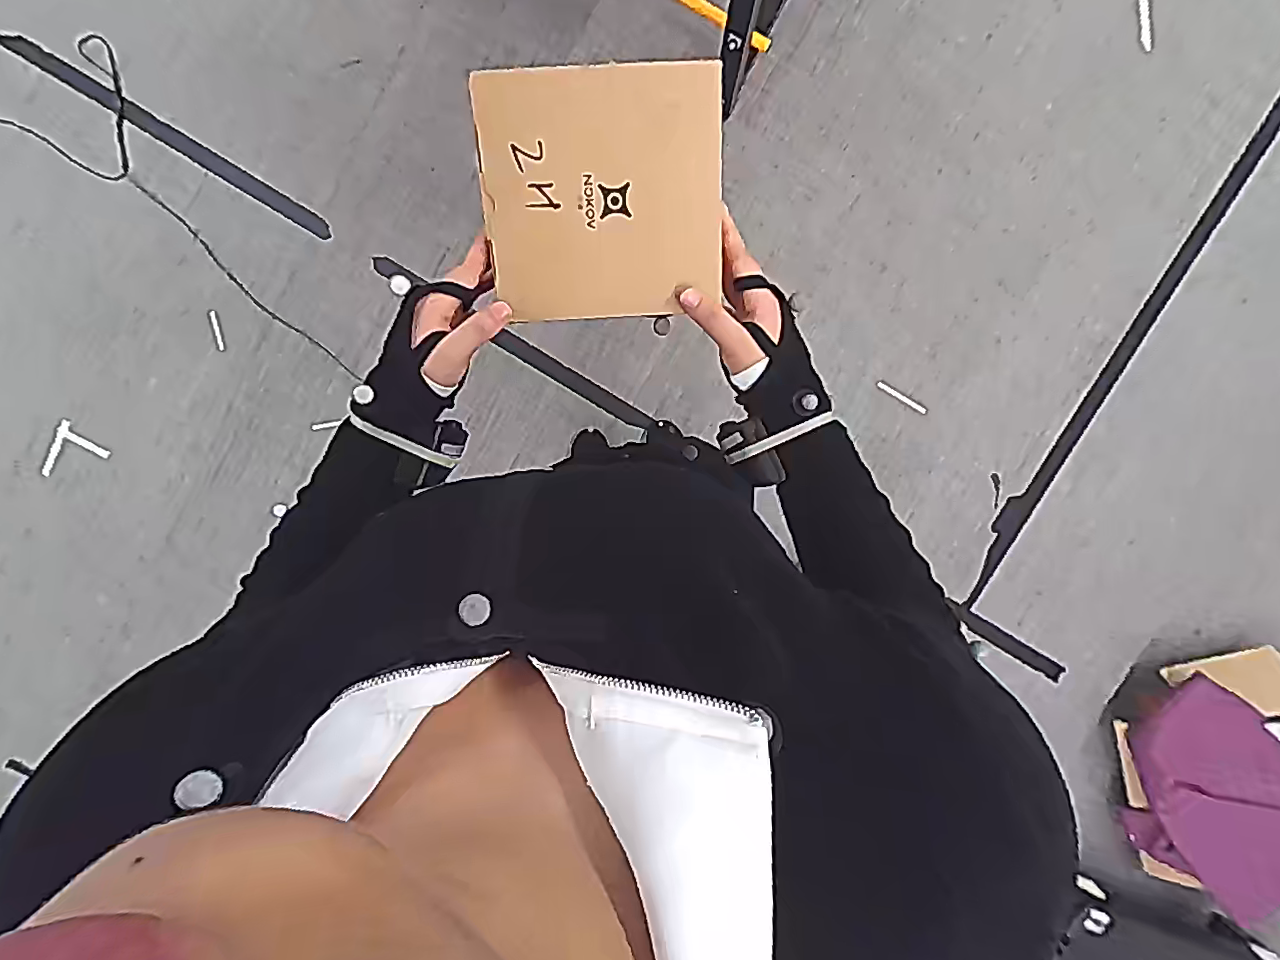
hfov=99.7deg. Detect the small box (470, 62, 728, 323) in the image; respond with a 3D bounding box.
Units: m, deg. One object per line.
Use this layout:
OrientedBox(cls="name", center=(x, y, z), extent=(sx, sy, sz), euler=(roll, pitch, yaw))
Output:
OrientedBox(cls="small box", center=(-0.027, -0.227, 0.462), extent=(0.179, 0.176, 0.168), euler=(-3, 109, -1))
